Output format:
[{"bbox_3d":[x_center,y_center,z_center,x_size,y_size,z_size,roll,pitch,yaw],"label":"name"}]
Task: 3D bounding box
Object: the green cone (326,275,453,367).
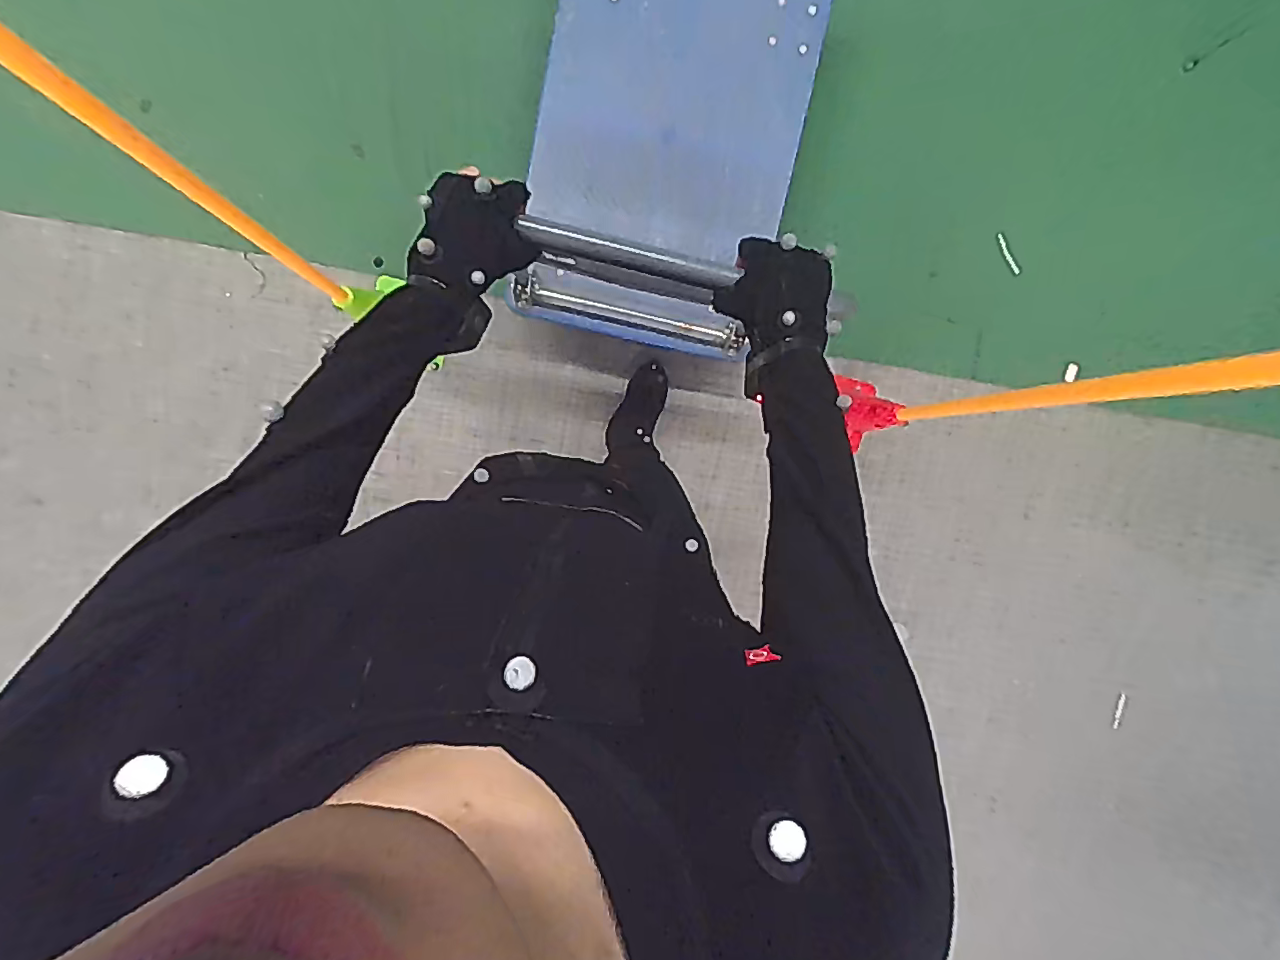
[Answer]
[{"bbox_3d":[-0.584,-0.384,1.211,0.202,0.368,0.200,14,96,-4],"label":"green cone"}]
